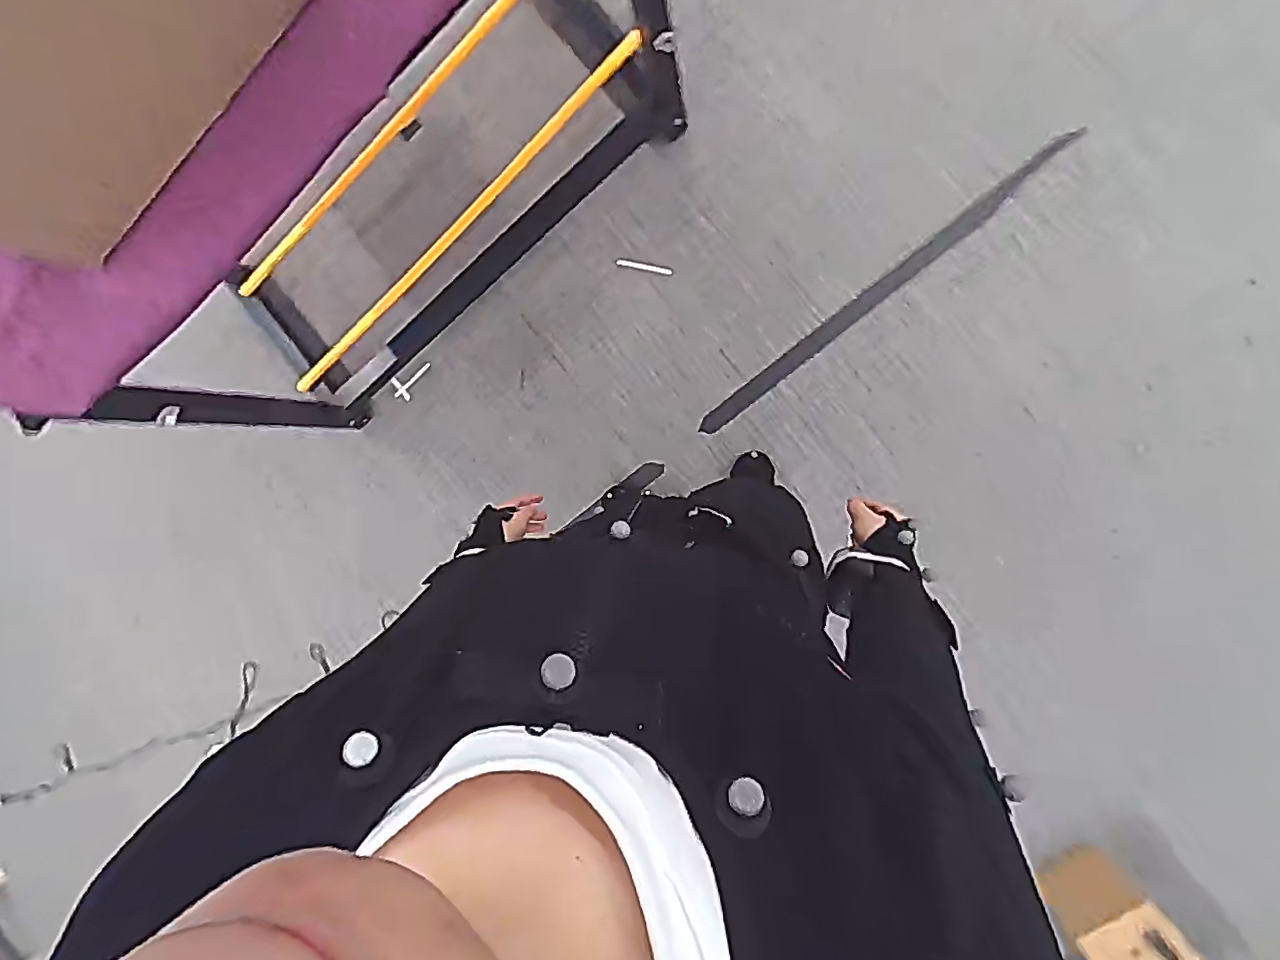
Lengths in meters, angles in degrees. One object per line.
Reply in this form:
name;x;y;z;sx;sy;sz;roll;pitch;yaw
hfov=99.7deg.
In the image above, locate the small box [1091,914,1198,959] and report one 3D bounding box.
small box;1.180;1.137;1.196;0.179;0.176;0.168;-39;87;10
